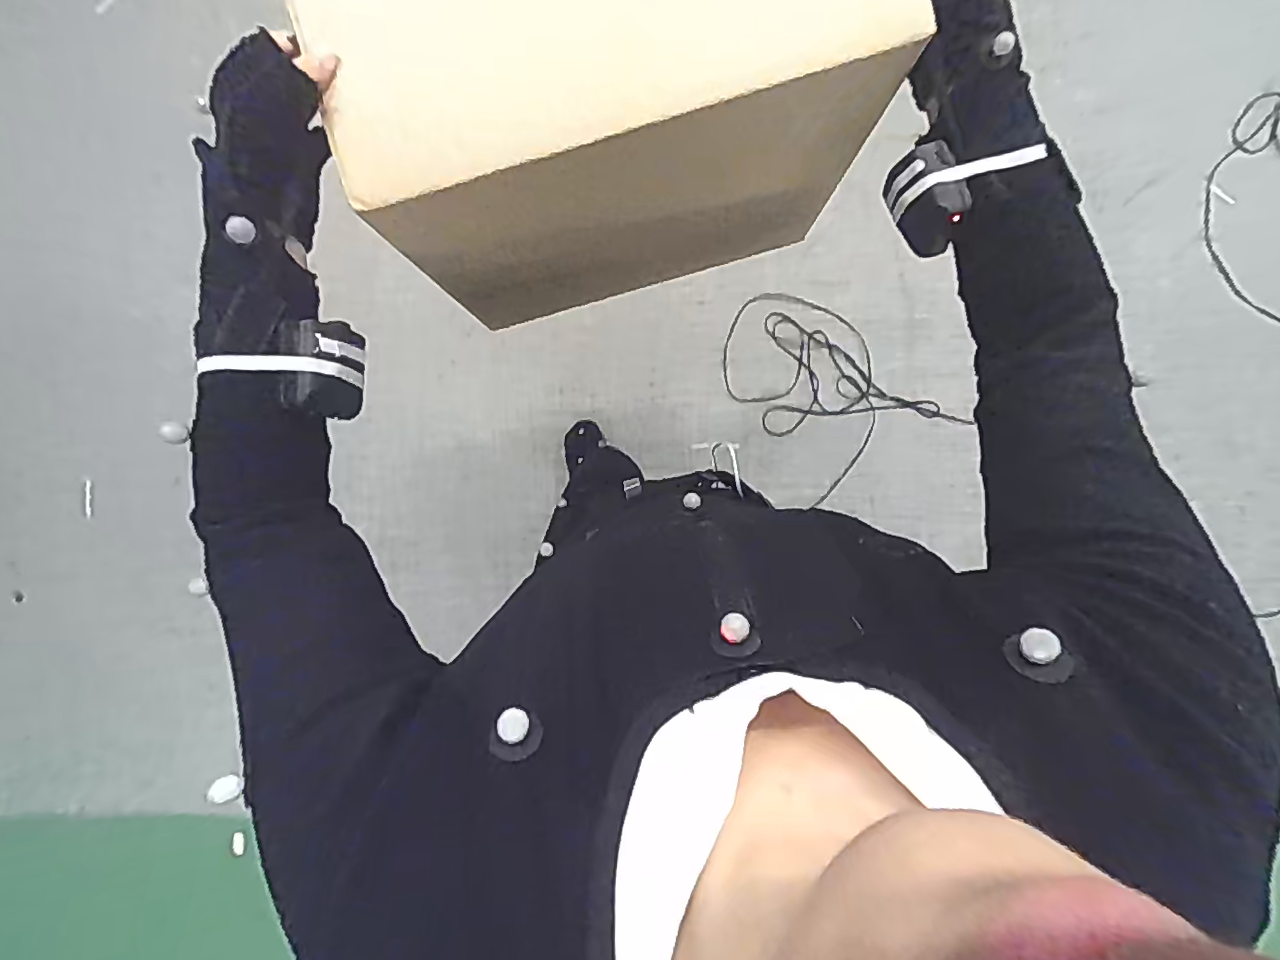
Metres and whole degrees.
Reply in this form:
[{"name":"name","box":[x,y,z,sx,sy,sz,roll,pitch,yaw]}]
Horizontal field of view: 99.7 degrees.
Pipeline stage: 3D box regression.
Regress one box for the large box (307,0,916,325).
[{"name":"large box","box":[-0.041,-0.390,0.519,0.408,0.320,0.320,-16,90,1]}]
